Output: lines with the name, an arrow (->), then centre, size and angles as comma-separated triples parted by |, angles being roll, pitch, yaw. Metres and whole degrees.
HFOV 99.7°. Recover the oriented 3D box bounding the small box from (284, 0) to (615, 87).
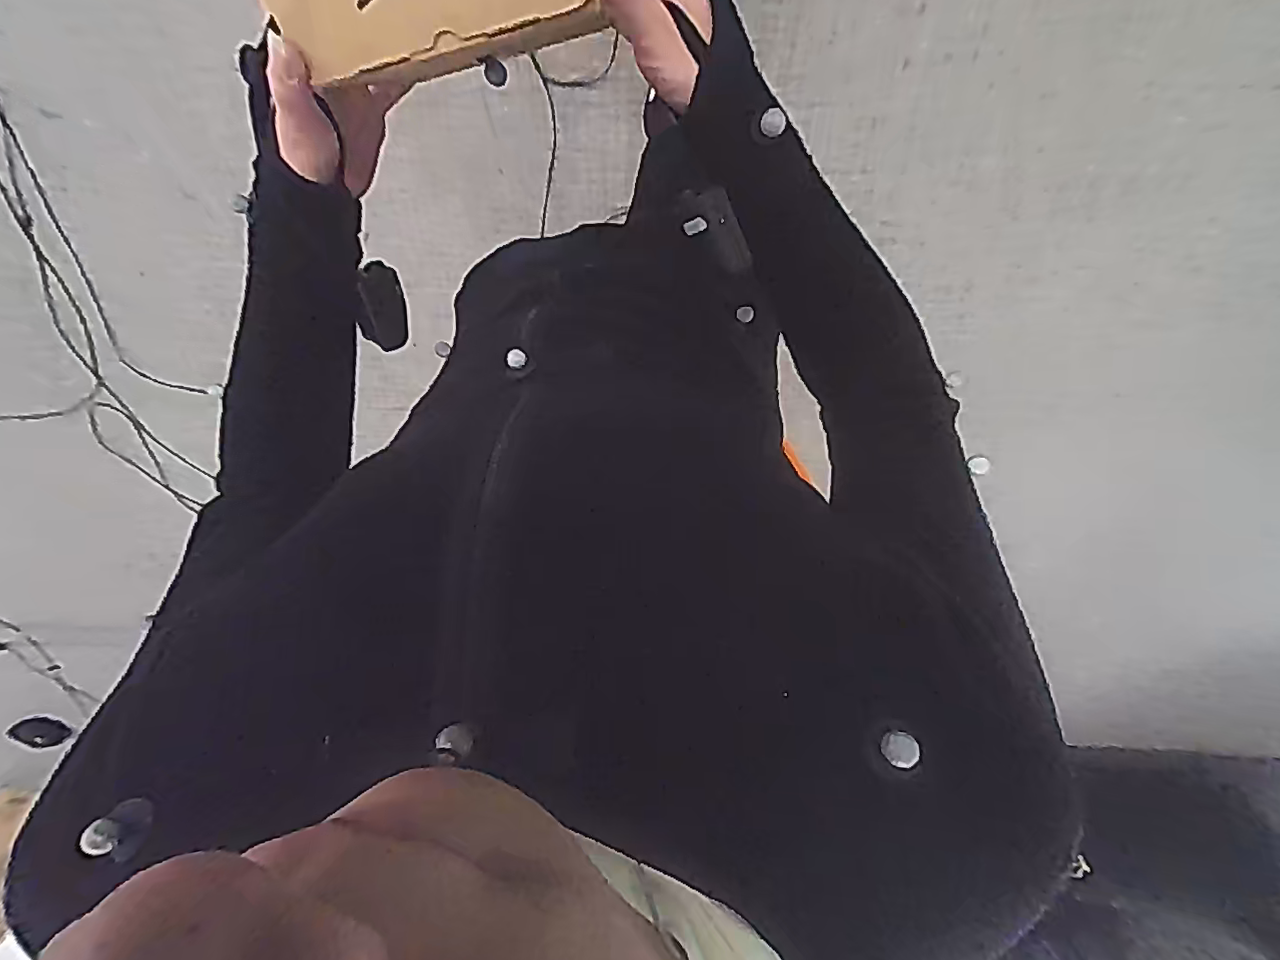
small box -> -0.112, -0.344, 0.305 | 0.168, 0.176, 0.179 | -9, 127, 7
